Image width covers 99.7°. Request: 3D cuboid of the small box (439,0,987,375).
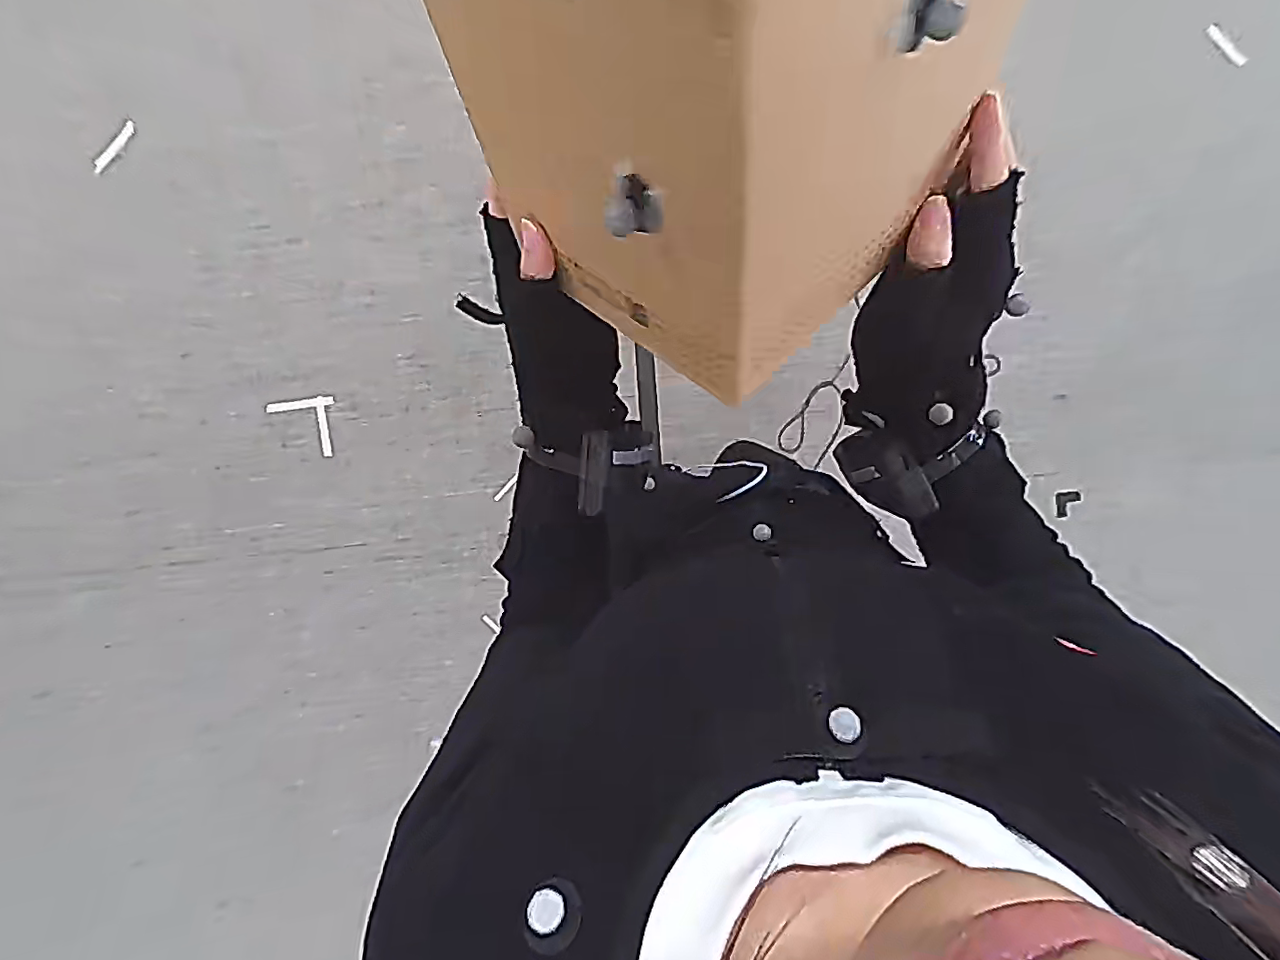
[{"bbox_3d":[0.041,-0.184,0.258,0.168,0.176,0.179,39,73,24],"label":"small box"}]
